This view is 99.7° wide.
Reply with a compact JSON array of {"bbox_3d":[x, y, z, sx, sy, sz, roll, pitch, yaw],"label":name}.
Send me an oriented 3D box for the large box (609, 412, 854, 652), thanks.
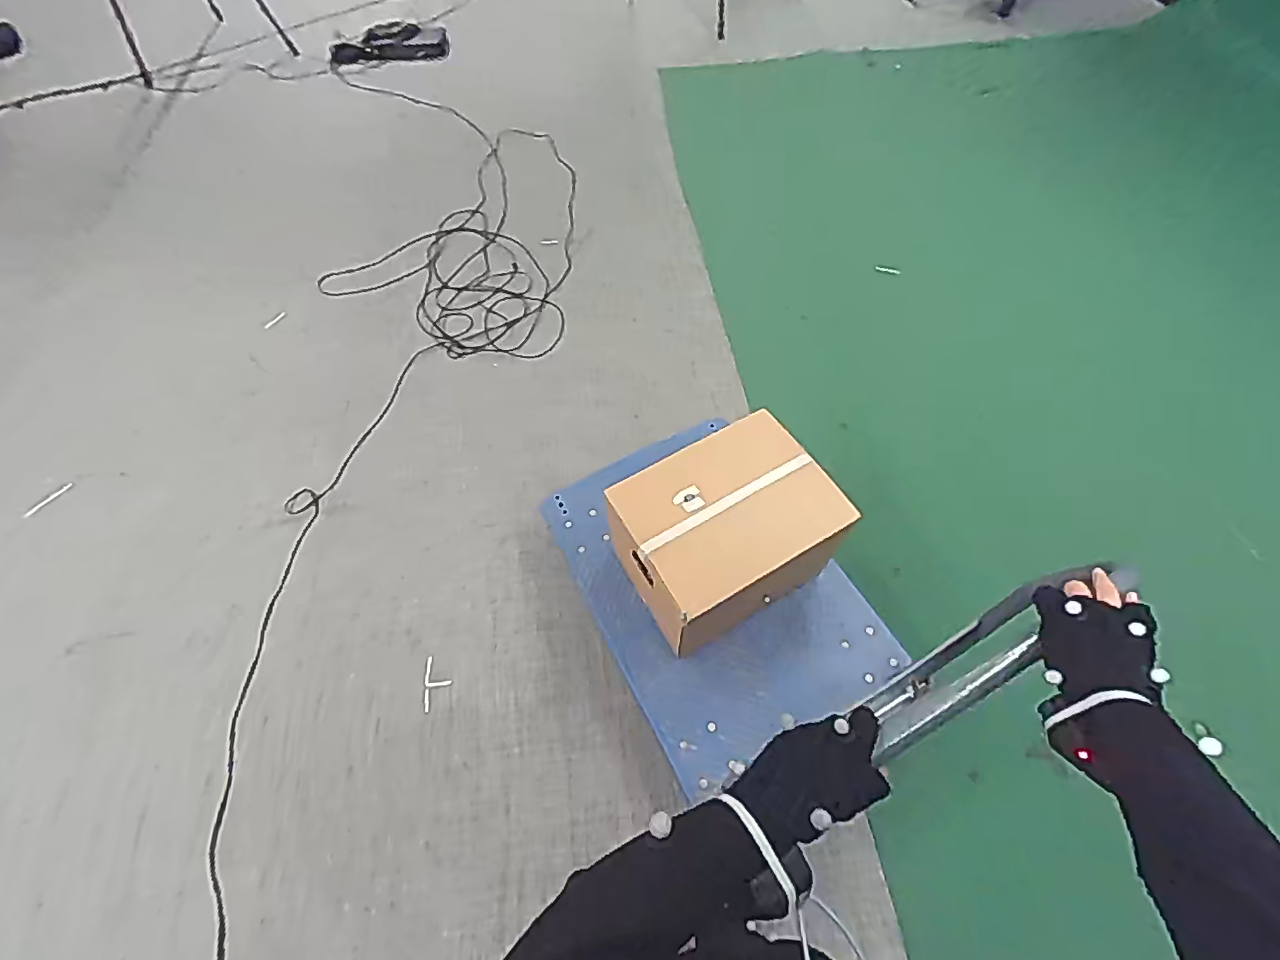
[{"bbox_3d":[0.186,0.123,1.212,0.408,0.320,0.320,-28,63,-13],"label":"large box"}]
